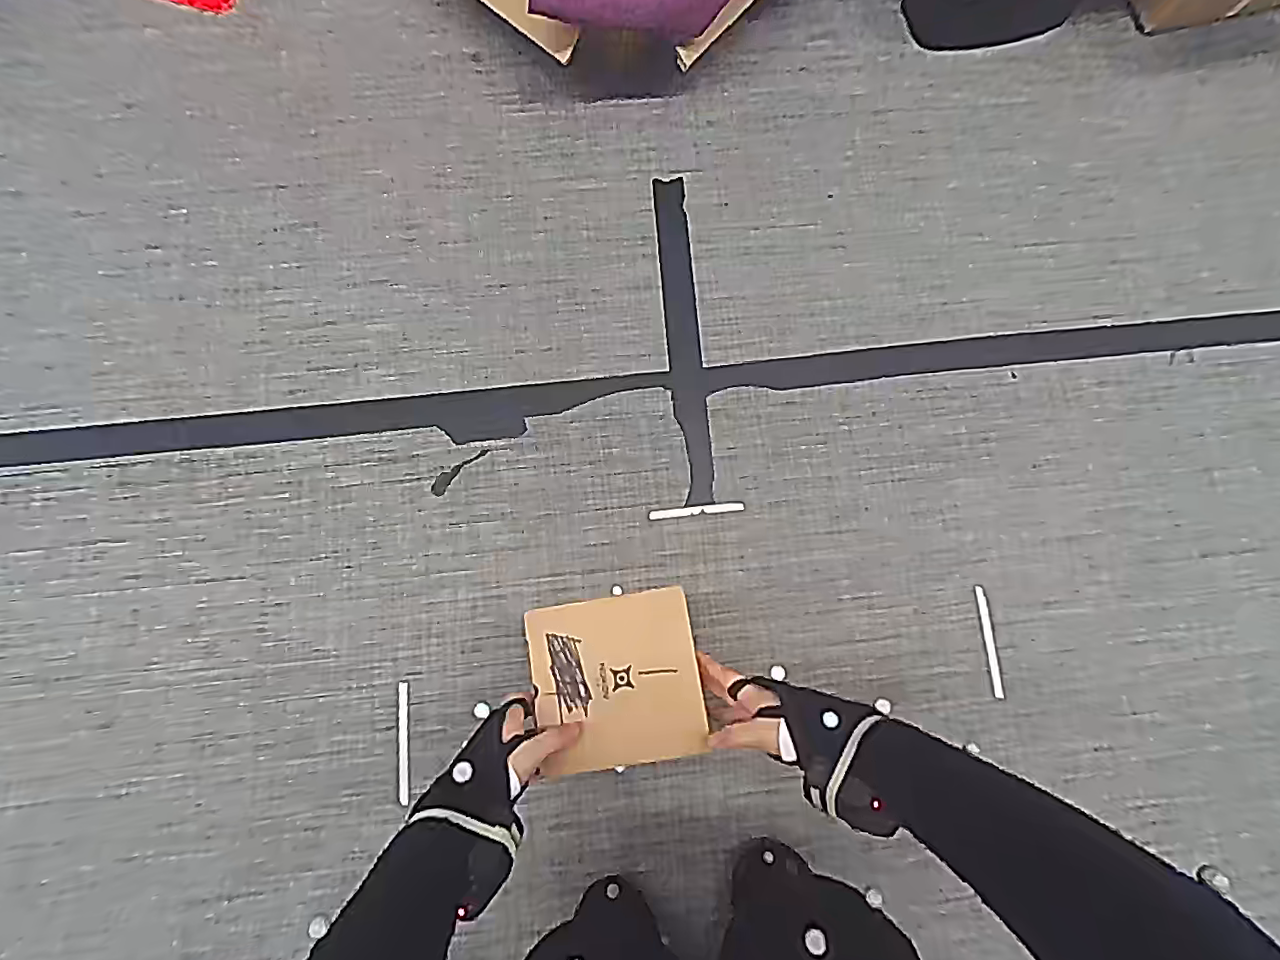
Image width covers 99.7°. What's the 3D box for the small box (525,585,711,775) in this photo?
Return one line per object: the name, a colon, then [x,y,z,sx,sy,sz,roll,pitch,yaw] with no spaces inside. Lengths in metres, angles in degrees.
small box: [-0.018,0.221,0.626,0.179,0.176,0.168,-10,75,2]
